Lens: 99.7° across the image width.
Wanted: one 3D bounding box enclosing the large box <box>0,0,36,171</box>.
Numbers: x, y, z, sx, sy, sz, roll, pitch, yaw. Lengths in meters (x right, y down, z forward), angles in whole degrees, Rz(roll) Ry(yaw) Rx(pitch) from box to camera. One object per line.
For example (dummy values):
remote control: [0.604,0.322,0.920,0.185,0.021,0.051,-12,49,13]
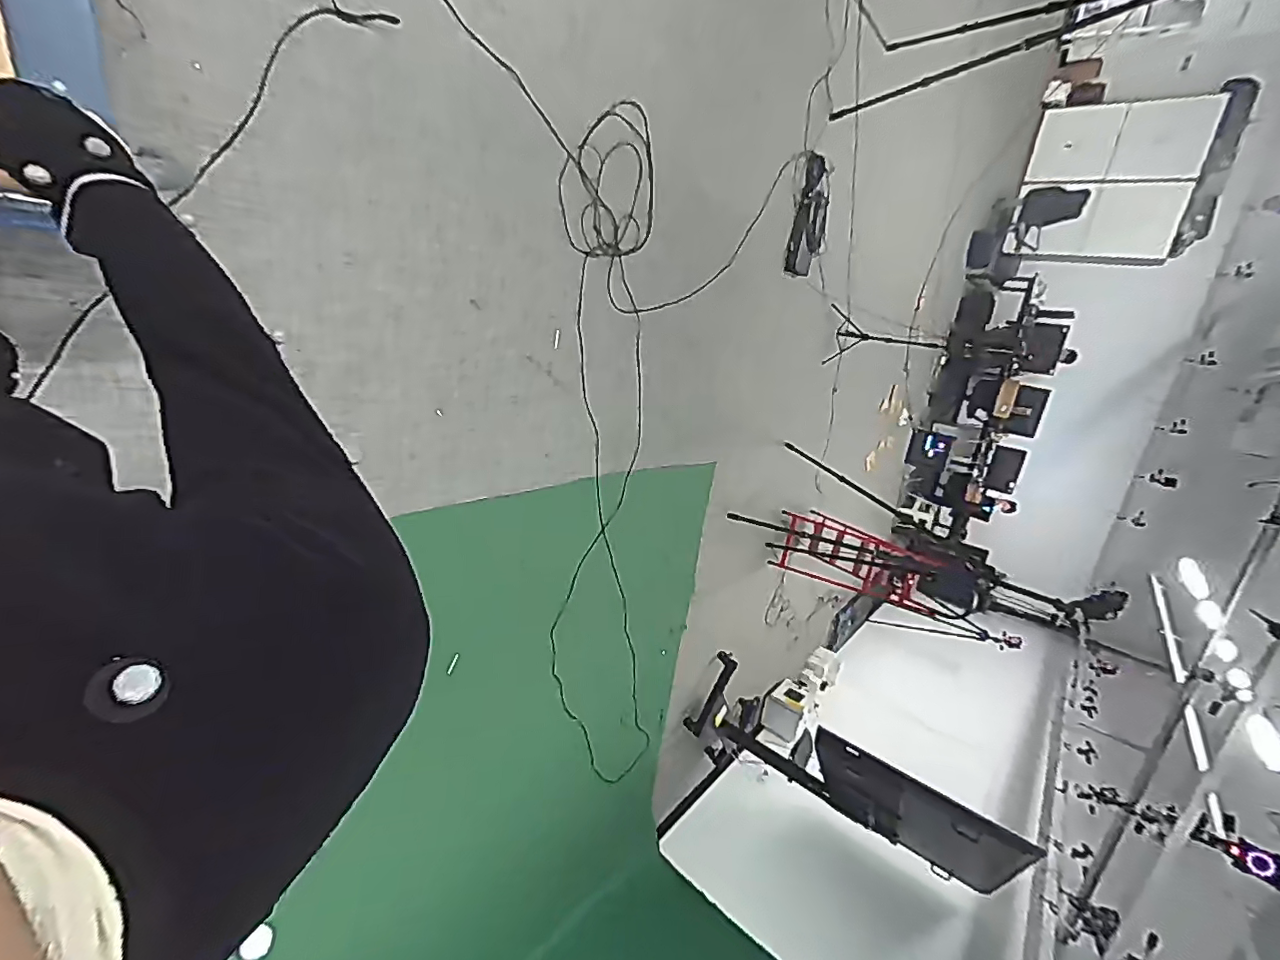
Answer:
large box: [-0.998,-0.628,0.635,0.320,0.320,0.408,-16,117,-48]
